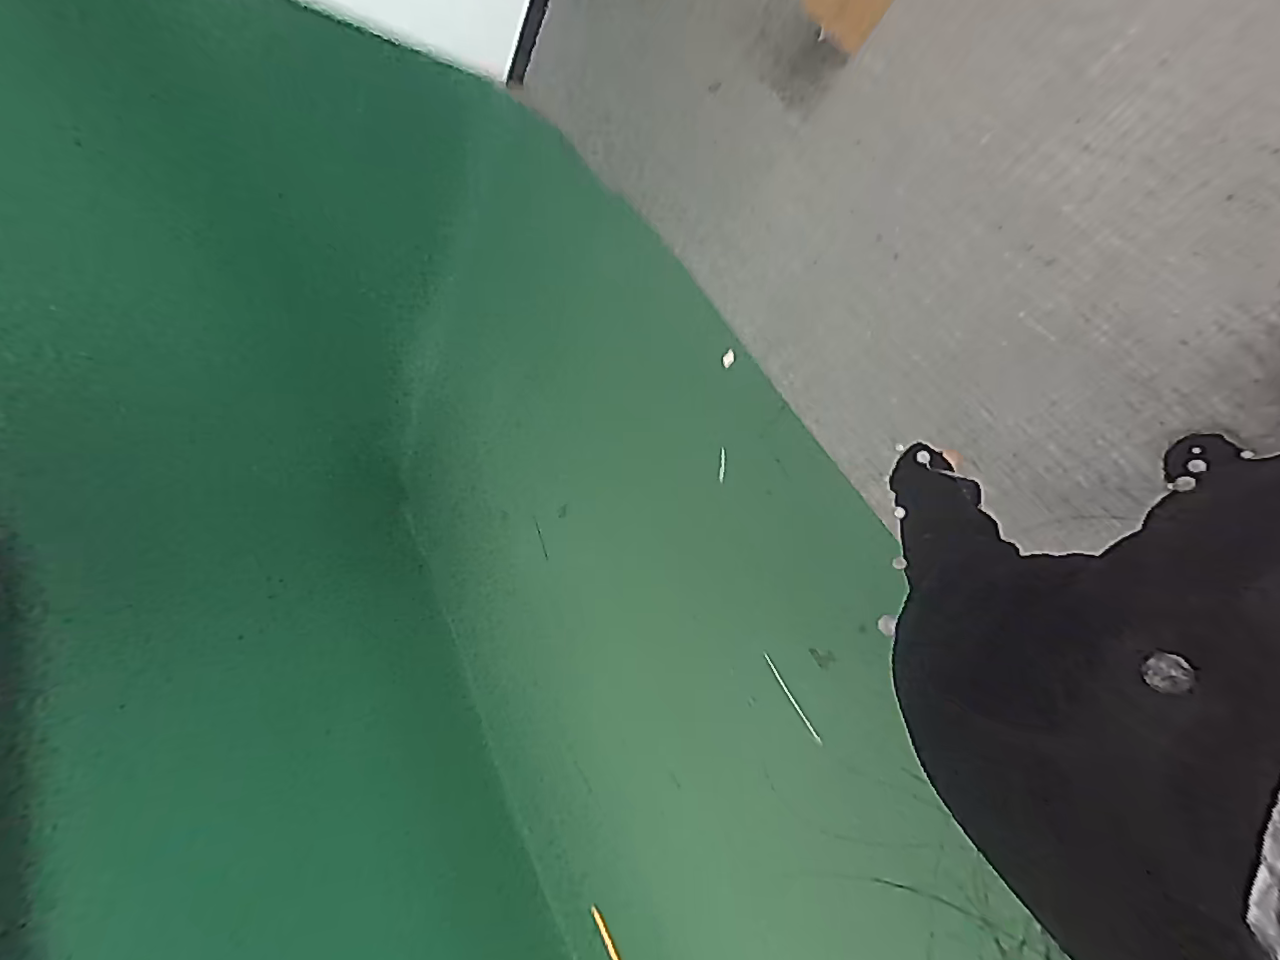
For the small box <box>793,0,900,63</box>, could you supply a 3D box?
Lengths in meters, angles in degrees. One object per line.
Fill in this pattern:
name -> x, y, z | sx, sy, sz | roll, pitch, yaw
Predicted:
small box -> 0.538, -1.232, 1.387 | 0.179, 0.176, 0.168 | -46, 63, 42
